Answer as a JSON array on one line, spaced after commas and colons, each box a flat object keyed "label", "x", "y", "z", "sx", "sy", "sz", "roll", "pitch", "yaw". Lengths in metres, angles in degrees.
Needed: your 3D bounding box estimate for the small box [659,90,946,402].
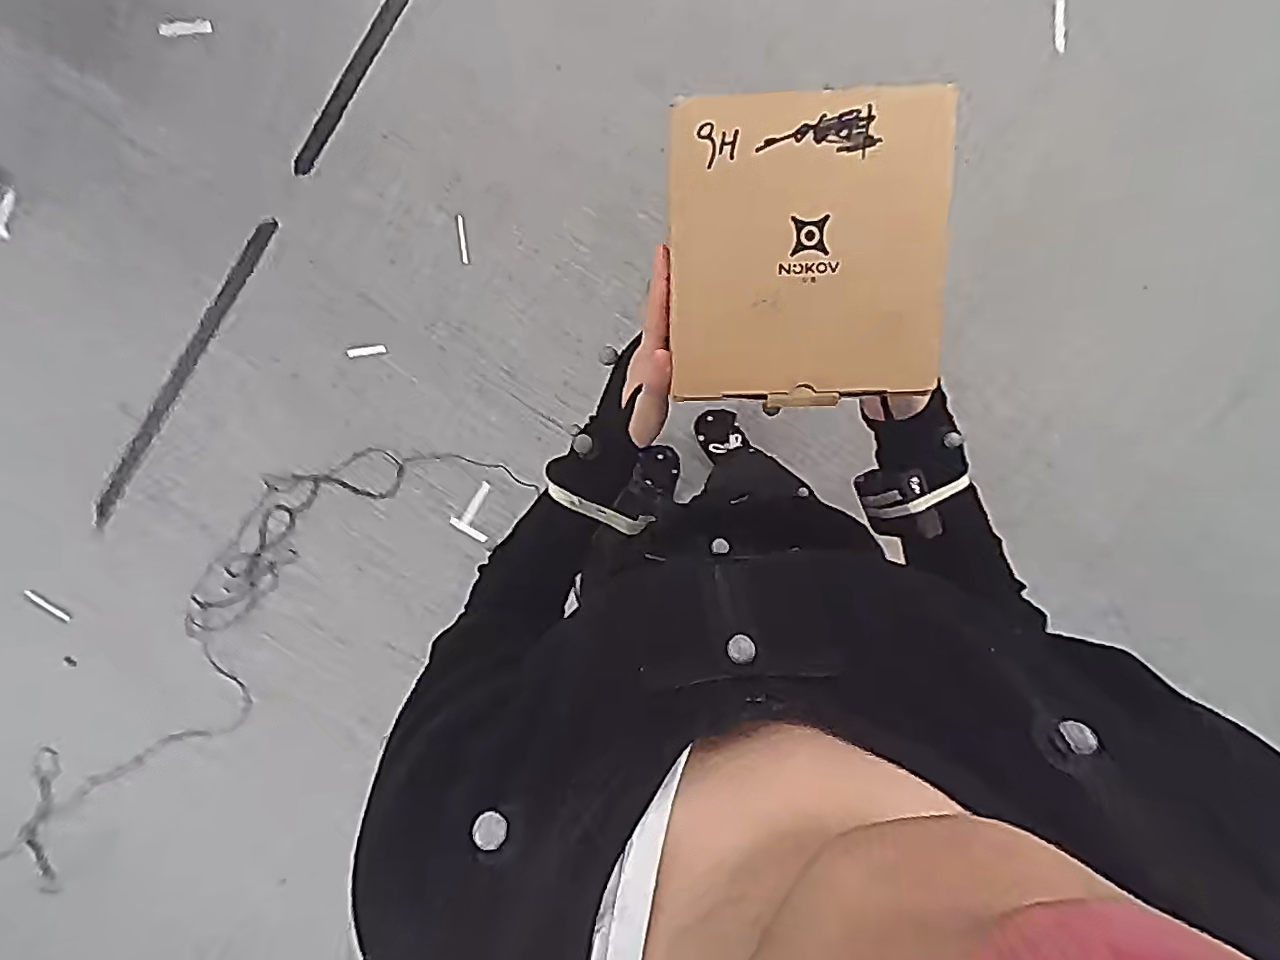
[{"label": "small box", "x": 0.100, "y": -0.155, "z": 0.410, "sx": 0.168, "sy": 0.176, "sz": 0.179, "roll": -2, "pitch": 101, "yaw": 1}]
